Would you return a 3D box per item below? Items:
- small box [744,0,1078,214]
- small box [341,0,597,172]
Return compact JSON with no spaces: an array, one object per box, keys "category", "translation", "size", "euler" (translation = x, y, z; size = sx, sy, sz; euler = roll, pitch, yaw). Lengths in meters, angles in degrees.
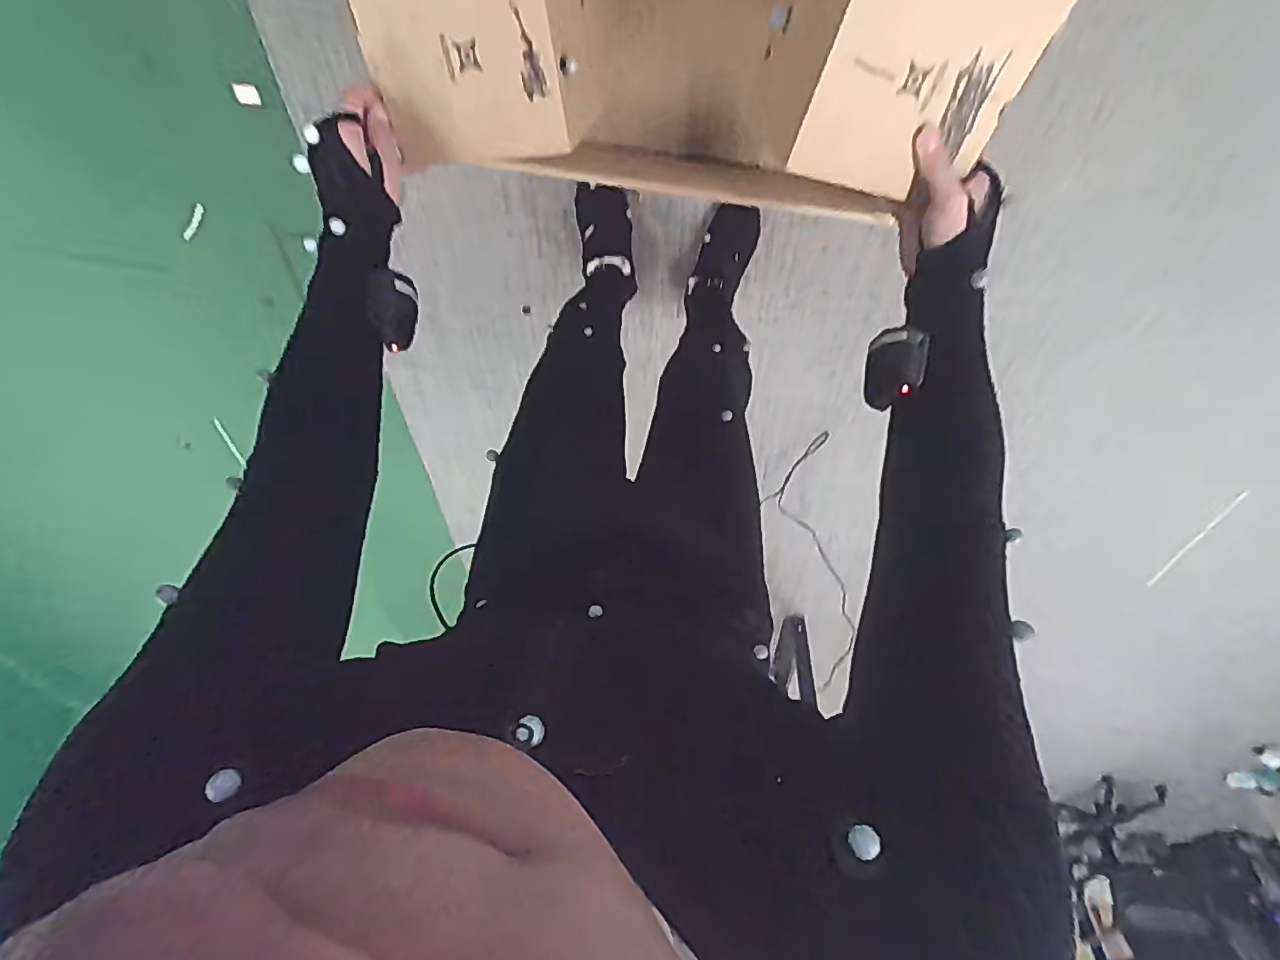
[{"category":"small box","translation":[0.216,-0.371,0.488],"size":[0.179,0.176,0.168],"euler":[6,135,-13]},{"category":"small box","translation":[-0.153,-0.422,0.536],"size":[0.179,0.176,0.168],"euler":[1,134,10]}]
